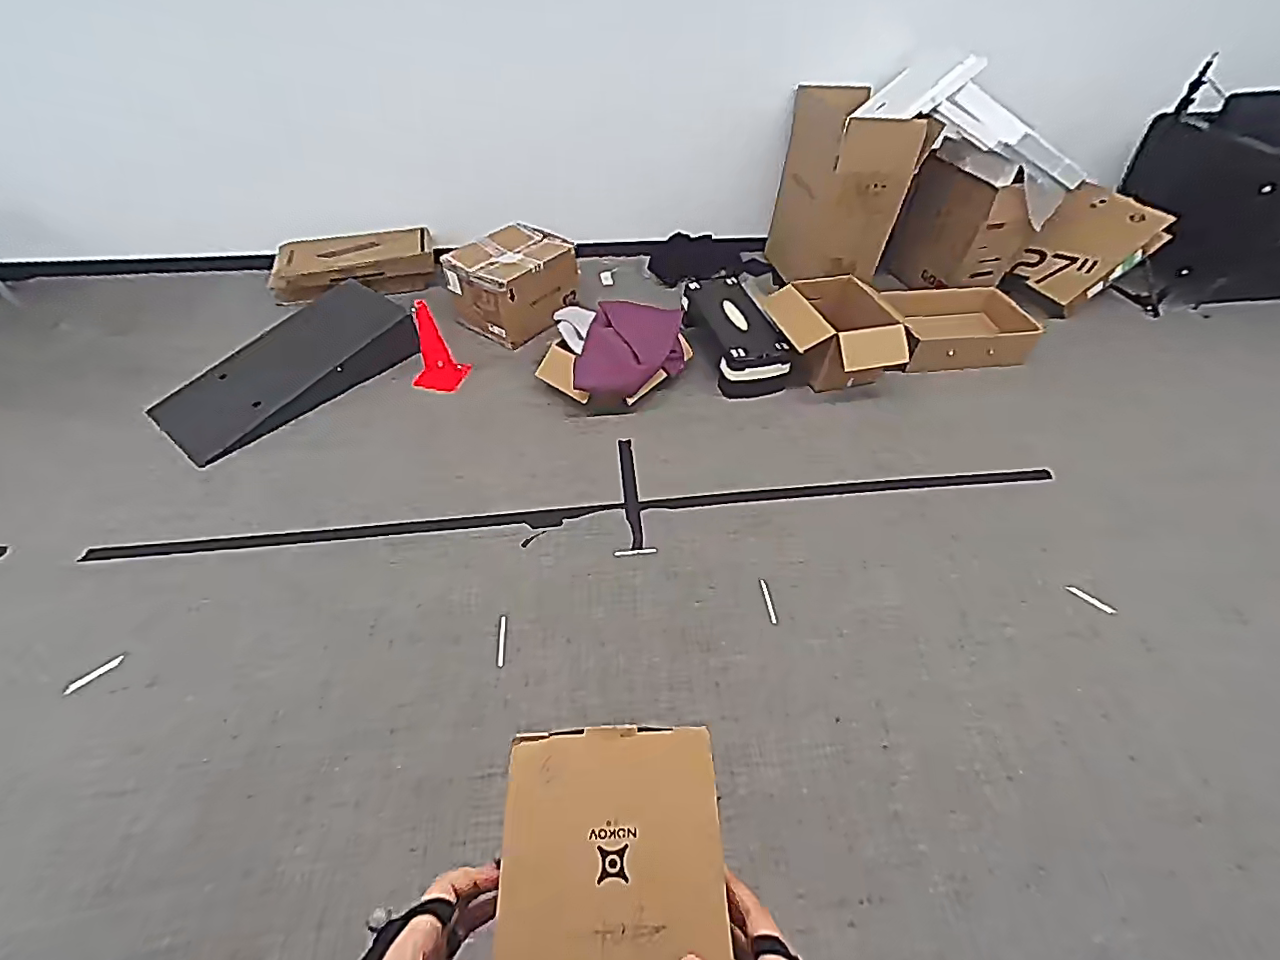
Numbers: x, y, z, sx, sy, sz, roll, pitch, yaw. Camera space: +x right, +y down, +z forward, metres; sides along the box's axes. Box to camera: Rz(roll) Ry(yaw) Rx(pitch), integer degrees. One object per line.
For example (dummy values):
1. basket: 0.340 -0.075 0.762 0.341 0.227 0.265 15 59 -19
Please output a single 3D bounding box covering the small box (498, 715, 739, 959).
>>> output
1. small box: -0.019 0.315 0.466 0.168 0.176 0.179 -2 57 -2
